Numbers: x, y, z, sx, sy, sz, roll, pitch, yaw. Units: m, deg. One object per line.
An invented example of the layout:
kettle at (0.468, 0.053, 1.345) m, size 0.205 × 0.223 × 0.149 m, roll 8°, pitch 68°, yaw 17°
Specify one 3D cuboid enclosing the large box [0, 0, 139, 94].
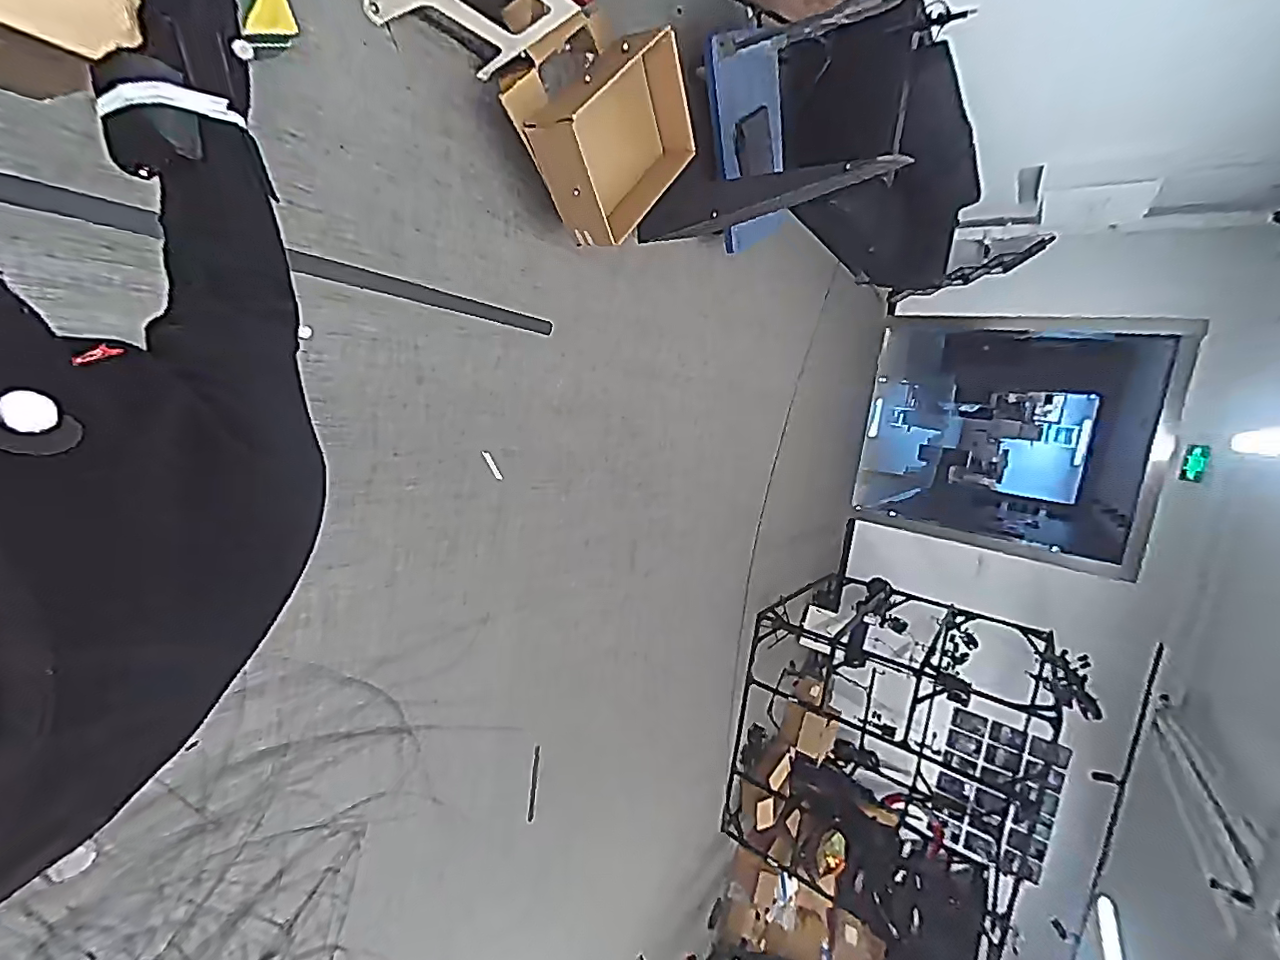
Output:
large box at (-0.569, -0.468, 0.273) m, size 0.408 × 0.320 × 0.320 m, roll -8°, pitch 115°, yaw -56°
